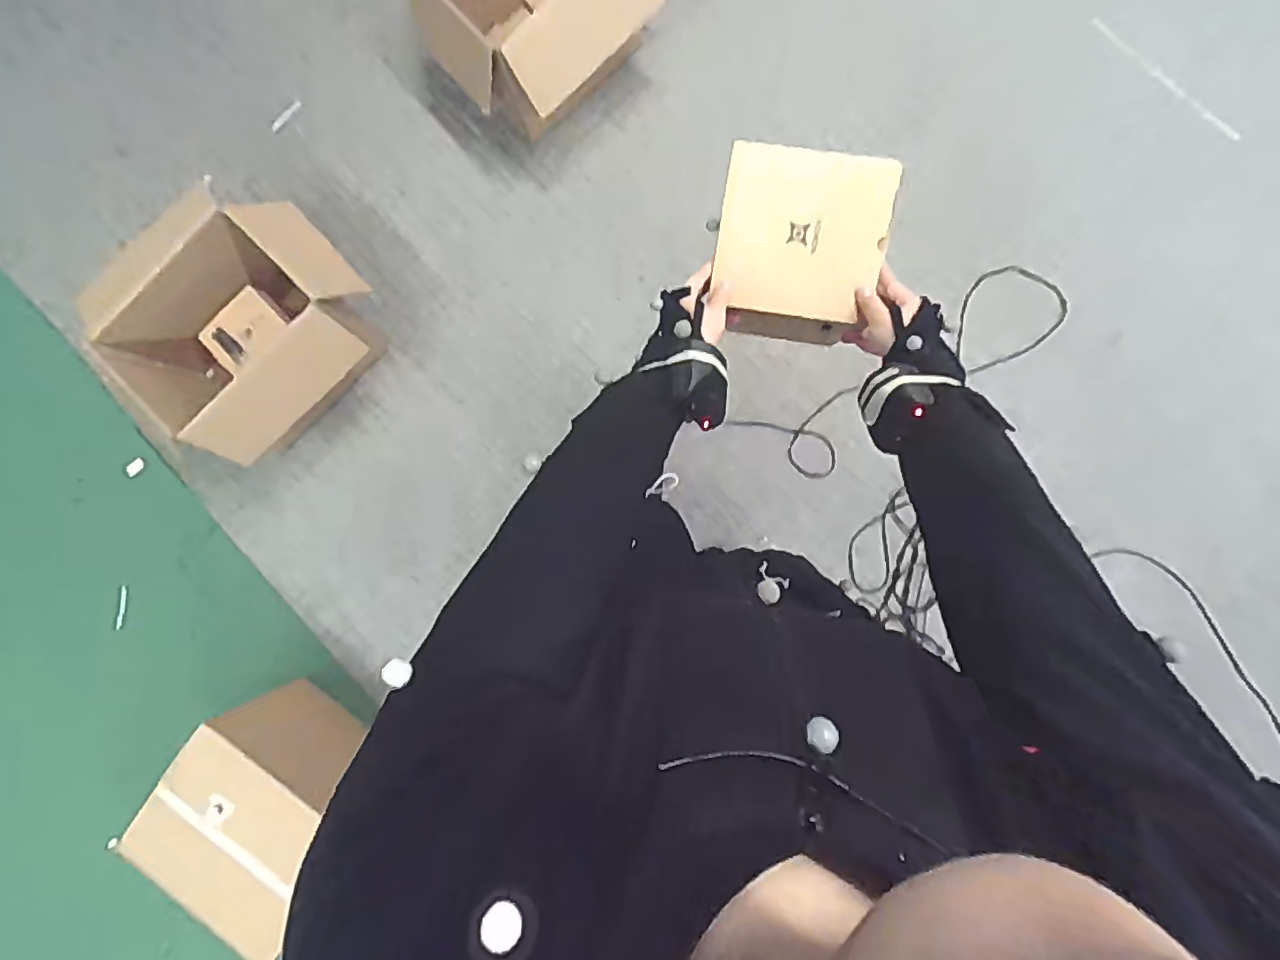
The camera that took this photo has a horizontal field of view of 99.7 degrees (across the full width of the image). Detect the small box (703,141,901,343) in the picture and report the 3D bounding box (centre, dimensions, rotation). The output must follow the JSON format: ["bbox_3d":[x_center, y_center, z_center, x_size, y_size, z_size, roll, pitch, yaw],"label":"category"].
[{"bbox_3d":[0.172,-0.264,0.637,0.179,0.176,0.168,9,97,3],"label":"small box"}]
